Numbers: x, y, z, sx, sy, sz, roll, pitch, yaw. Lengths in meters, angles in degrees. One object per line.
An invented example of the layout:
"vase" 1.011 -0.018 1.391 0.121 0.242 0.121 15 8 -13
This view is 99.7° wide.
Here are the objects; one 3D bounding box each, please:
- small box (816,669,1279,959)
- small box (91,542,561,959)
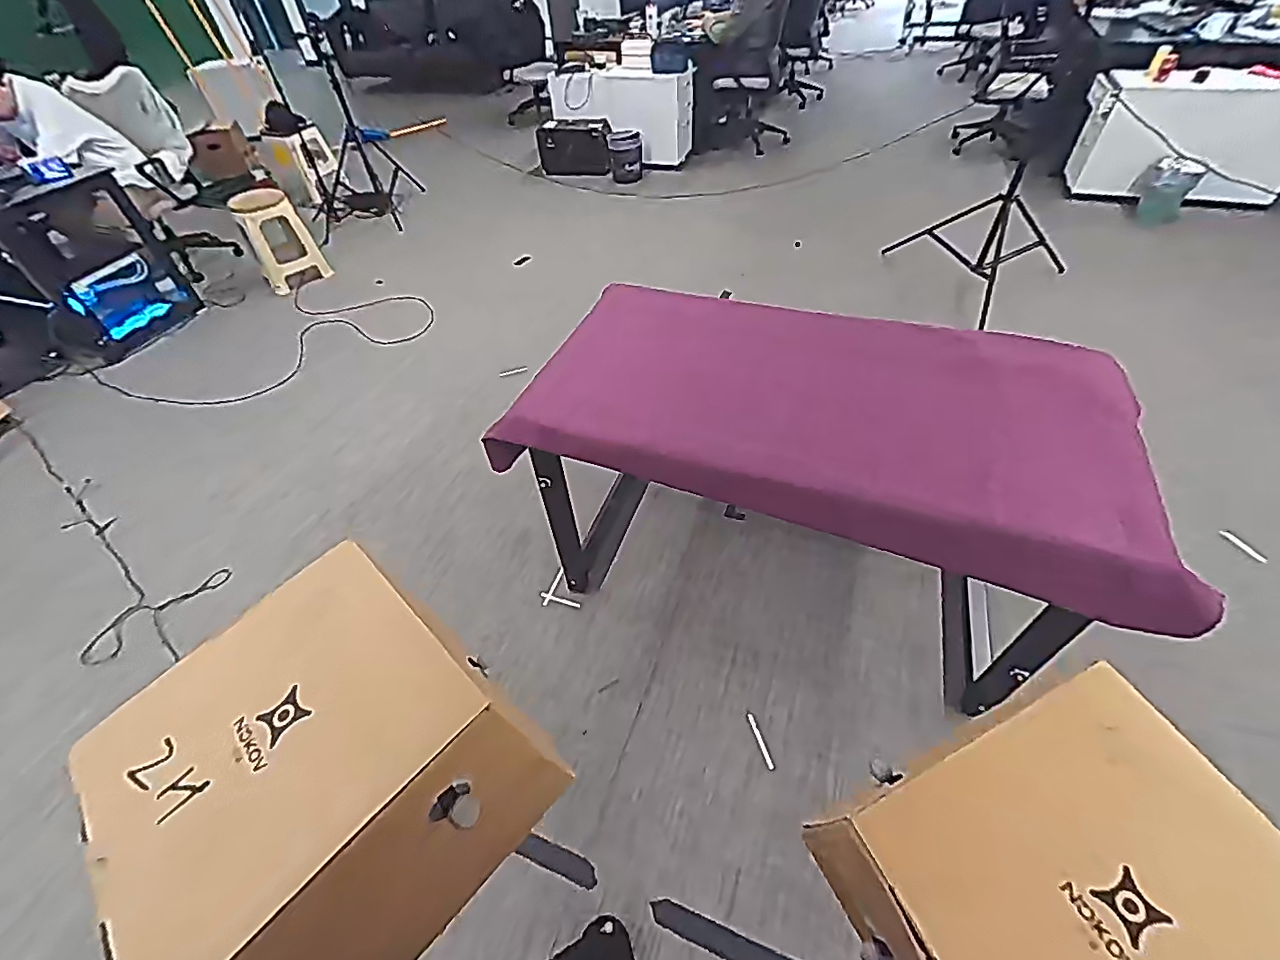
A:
"small box" 0.229 0.241 0.315 0.179 0.176 0.168 -26 57 -9
"small box" -0.170 0.180 0.344 0.168 0.176 0.179 32 64 33
